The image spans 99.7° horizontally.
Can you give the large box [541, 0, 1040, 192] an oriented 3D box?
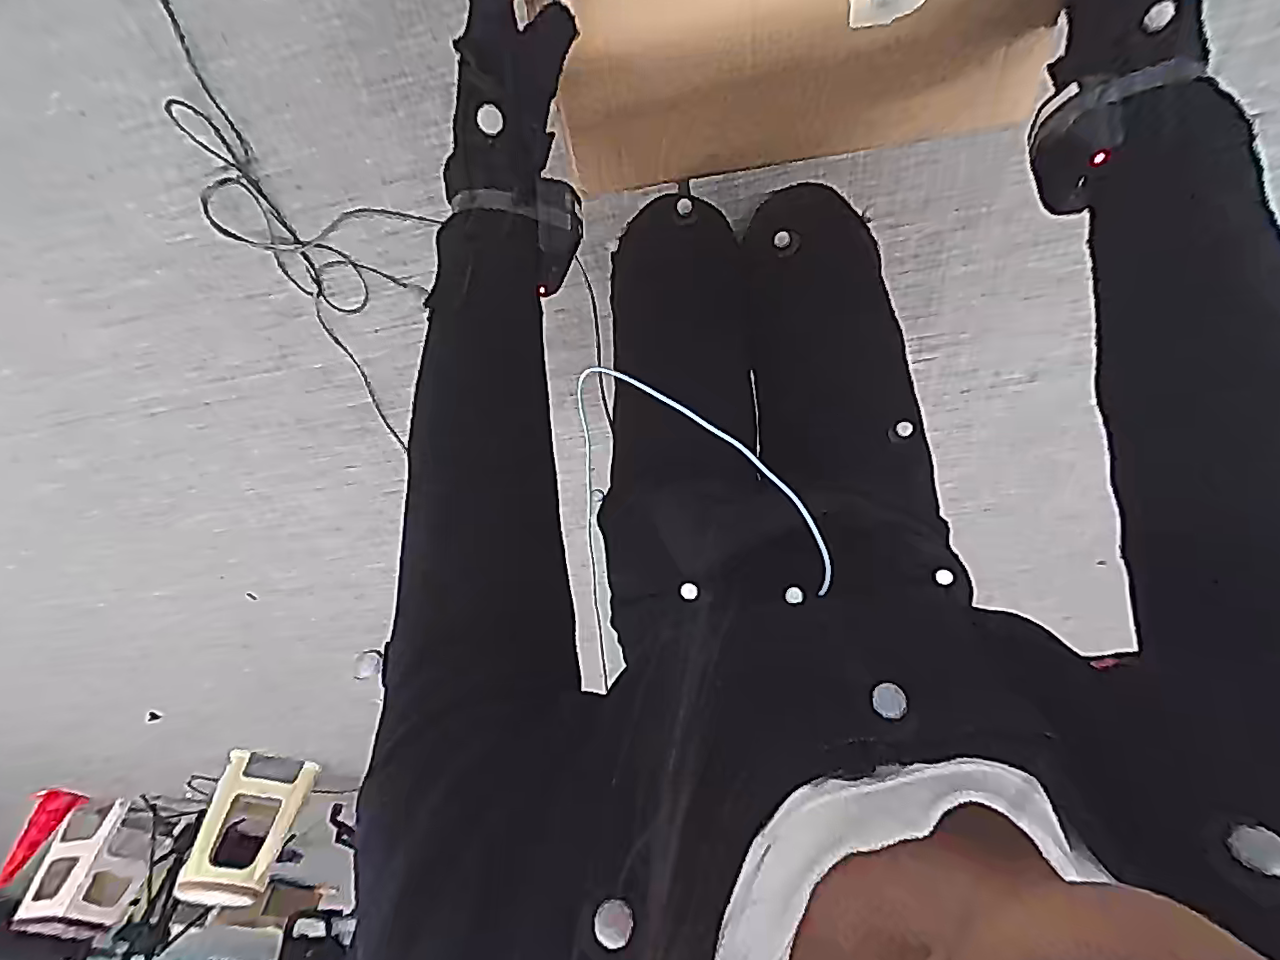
[{"bbox_3d":[0.110,-0.515,0.513,0.408,0.320,0.320,-7,133,5],"label":"large box"}]
